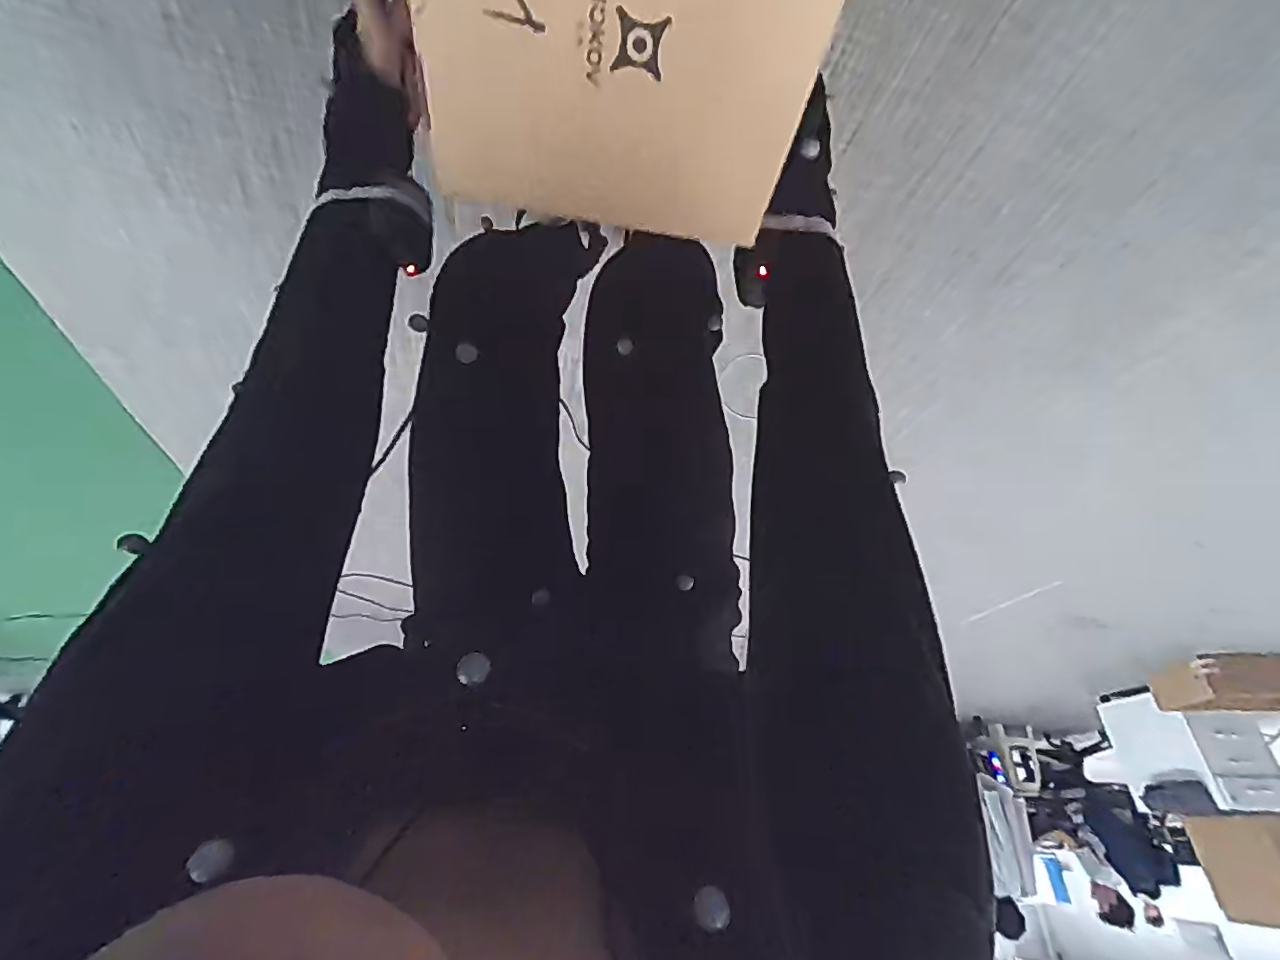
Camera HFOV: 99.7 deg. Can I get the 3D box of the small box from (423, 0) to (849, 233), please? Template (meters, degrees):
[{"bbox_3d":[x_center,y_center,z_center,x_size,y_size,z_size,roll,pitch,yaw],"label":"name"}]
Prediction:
[{"bbox_3d":[-0.001,-0.261,0.273,0.179,0.176,0.168,8,145,-7],"label":"small box"}]
